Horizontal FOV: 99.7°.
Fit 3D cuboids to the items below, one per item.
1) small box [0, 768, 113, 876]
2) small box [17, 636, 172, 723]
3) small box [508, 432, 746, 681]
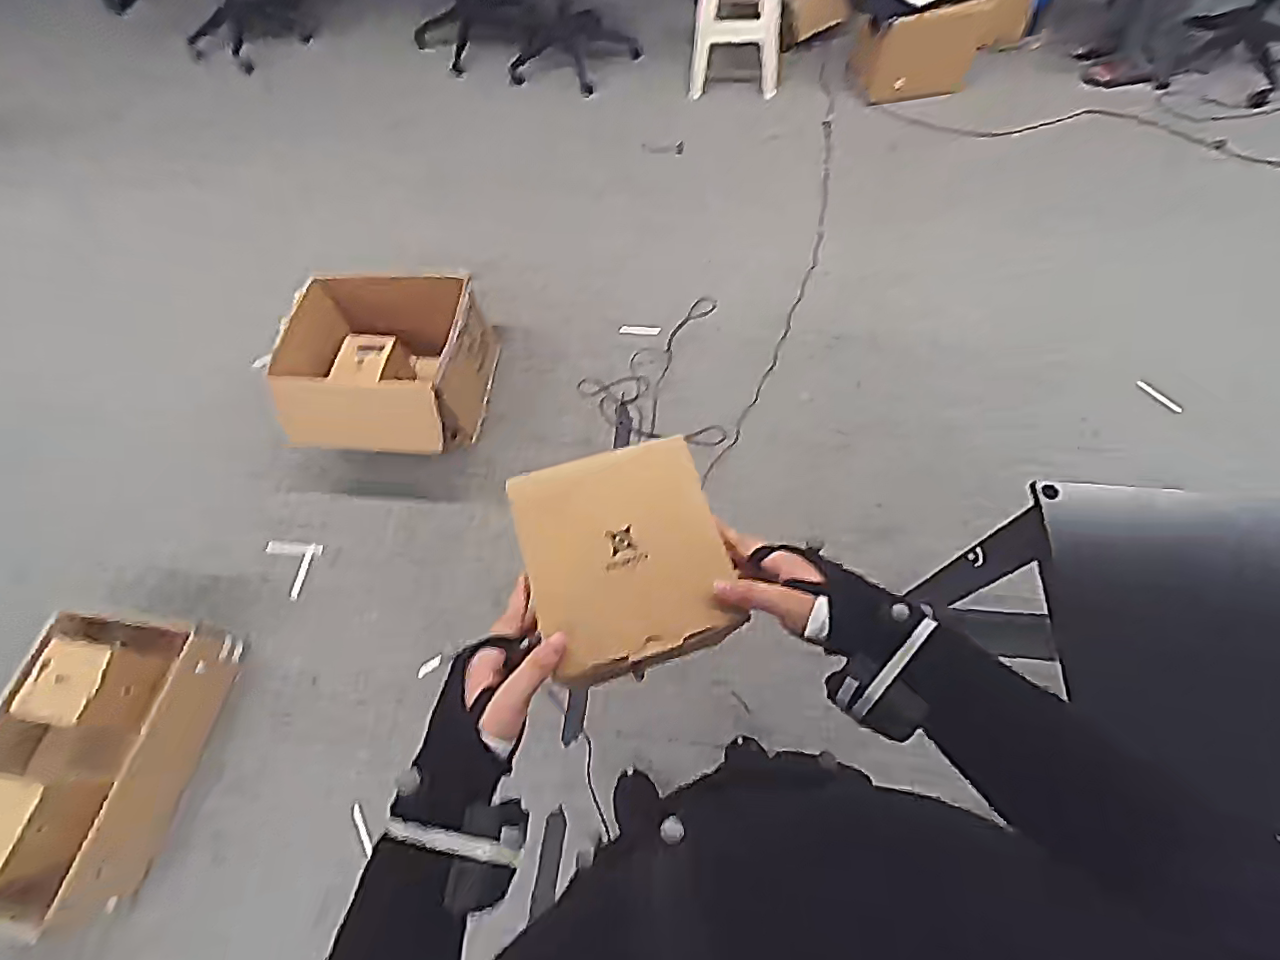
[{"bbox_3d":[-1.358,0.755,1.208,0.168,0.176,0.179,7,62,5],"label":"small box"},{"bbox_3d":[-1.329,0.496,1.336,0.179,0.176,0.168,9,65,7],"label":"small box"},{"bbox_3d":[-0.019,0.082,0.527,0.168,0.176,0.179,-16,69,-8],"label":"small box"}]
